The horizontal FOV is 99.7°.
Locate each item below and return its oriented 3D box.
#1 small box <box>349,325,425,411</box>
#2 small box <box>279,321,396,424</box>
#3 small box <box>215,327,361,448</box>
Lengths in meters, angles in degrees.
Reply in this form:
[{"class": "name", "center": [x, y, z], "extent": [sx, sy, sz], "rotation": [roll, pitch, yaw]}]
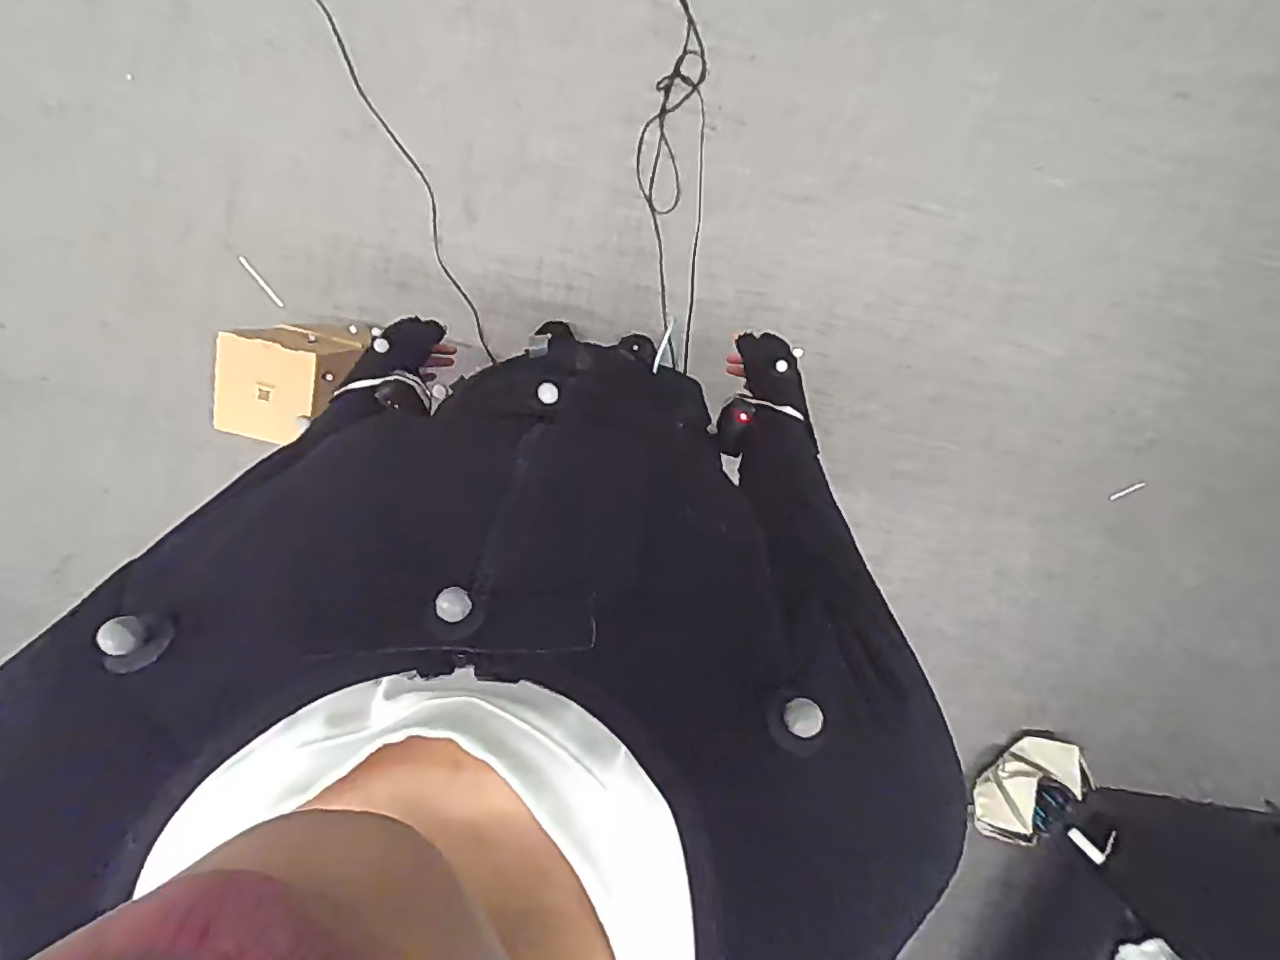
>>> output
[{"class": "small box", "center": [-0.644, -0.280, 1.320], "extent": [0.179, 0.176, 0.168], "rotation": [13, 106, -5]}, {"class": "small box", "center": [-0.647, -0.234, 1.162], "extent": [0.168, 0.176, 0.179], "rotation": [14, 105, -5]}, {"class": "small box", "center": [-0.646, -0.178, 1.009], "extent": [0.168, 0.176, 0.179], "rotation": [14, 105, -5]}]
